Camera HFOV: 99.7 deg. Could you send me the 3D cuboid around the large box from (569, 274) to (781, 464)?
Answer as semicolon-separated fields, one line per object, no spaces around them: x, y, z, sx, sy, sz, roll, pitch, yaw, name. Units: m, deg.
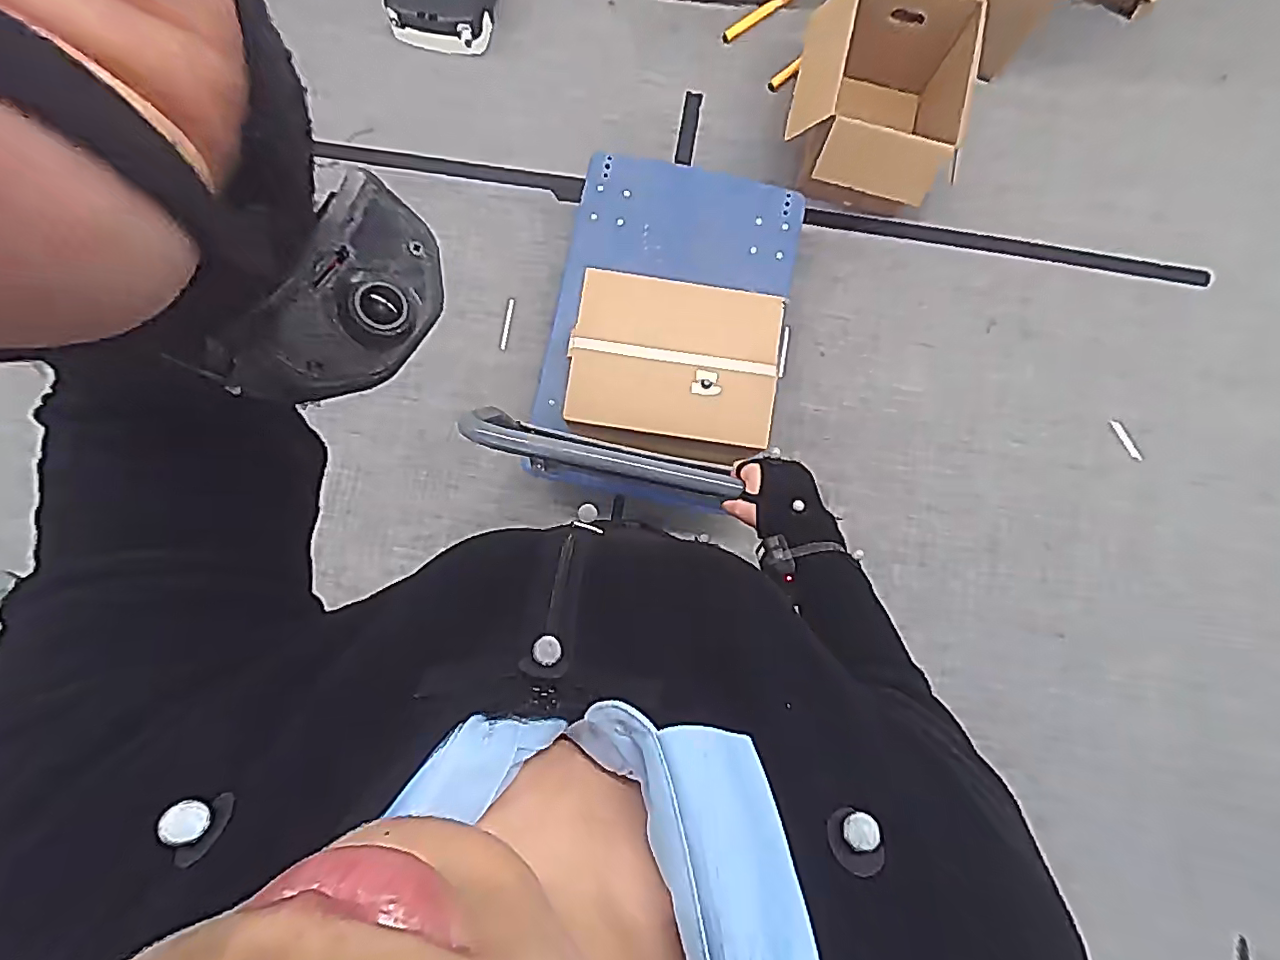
0.065;-0.227;1.224;0.408;0.320;0.320;8;85;-2;large box
